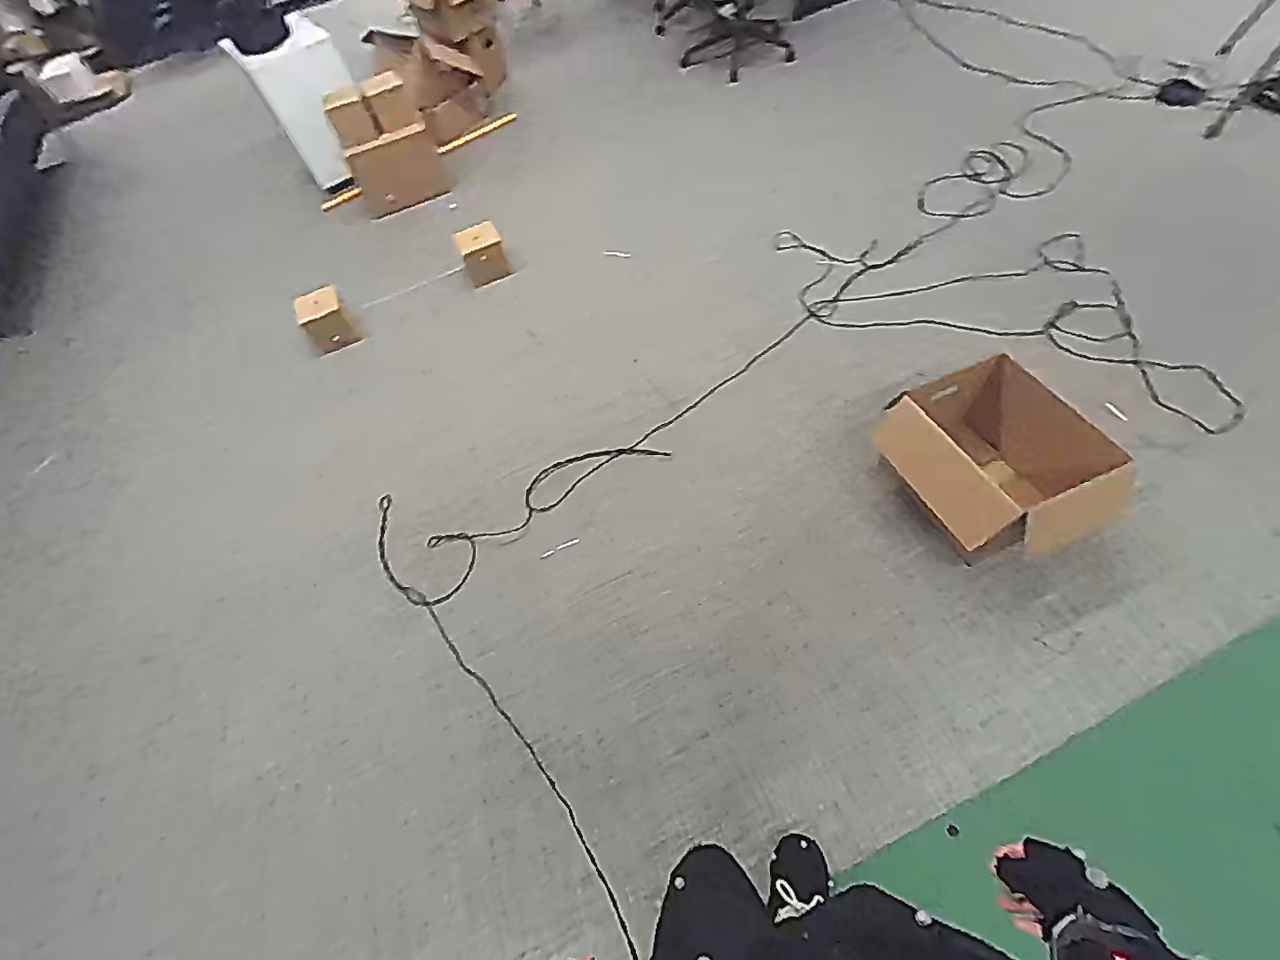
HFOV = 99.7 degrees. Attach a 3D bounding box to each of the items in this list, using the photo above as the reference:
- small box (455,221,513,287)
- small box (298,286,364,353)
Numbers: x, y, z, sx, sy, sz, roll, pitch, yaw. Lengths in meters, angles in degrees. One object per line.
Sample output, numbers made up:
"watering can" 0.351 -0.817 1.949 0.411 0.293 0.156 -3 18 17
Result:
"small box" -0.662 -0.965 2.315 0.179 0.176 0.168 -26 59 -7
"small box" -1.266 -0.656 2.217 0.168 0.176 0.179 -26 58 -7
